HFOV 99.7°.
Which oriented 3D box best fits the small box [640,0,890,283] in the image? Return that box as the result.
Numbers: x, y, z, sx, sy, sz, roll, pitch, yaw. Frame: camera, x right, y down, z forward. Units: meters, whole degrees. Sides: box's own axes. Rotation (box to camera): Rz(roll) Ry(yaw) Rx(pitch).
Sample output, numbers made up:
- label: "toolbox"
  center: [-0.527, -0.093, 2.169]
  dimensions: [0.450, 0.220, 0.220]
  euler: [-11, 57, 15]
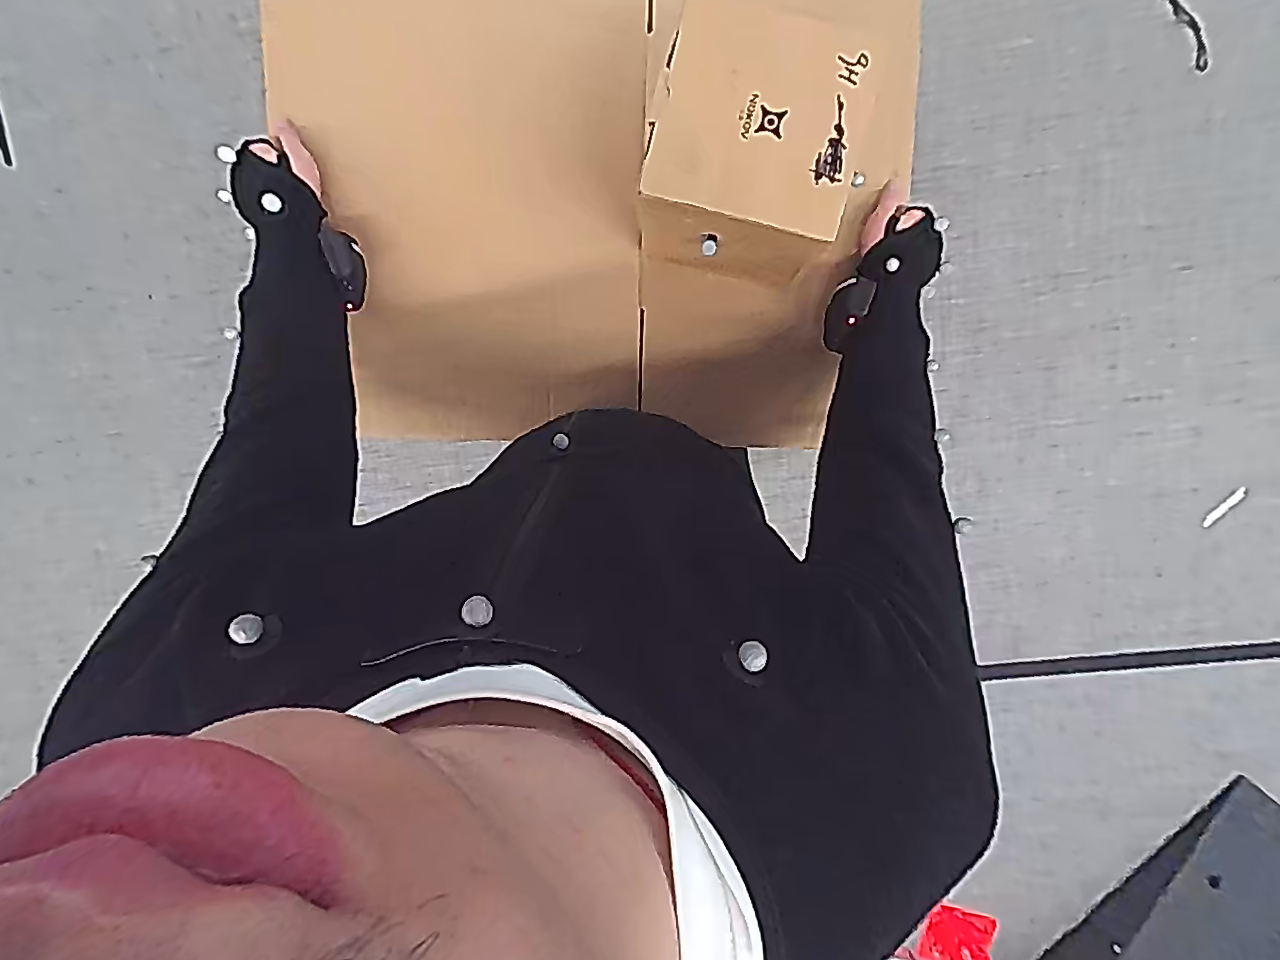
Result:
- label: "small box"
  center: [0.109, -0.314, 0.538]
  dimensions: [0.179, 0.176, 0.168]
  euler: [15, 96, 2]
